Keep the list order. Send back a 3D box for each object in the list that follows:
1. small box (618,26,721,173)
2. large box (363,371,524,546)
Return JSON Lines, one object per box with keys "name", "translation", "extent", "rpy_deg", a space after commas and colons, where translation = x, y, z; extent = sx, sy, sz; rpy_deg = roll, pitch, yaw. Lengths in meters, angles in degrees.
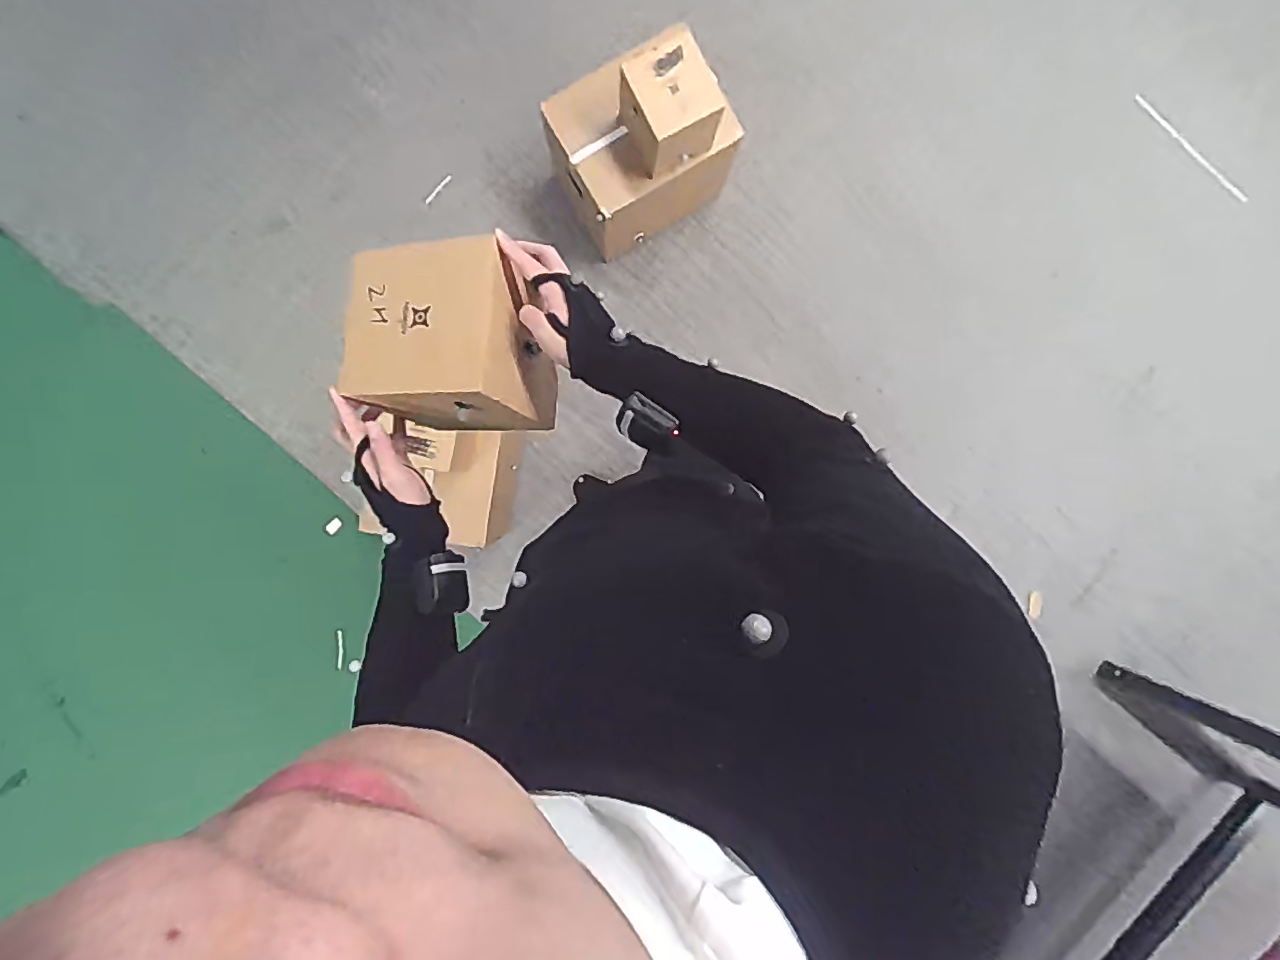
{"name": "small box", "translation": [0.057, -0.836, 1.207], "extent": [0.168, 0.176, 0.179], "rpy_deg": [-28, 95, -1]}
{"name": "large box", "translation": [-0.509, -0.062, 1.467], "extent": [0.320, 0.320, 0.408], "rpy_deg": [8, 93, -1]}
